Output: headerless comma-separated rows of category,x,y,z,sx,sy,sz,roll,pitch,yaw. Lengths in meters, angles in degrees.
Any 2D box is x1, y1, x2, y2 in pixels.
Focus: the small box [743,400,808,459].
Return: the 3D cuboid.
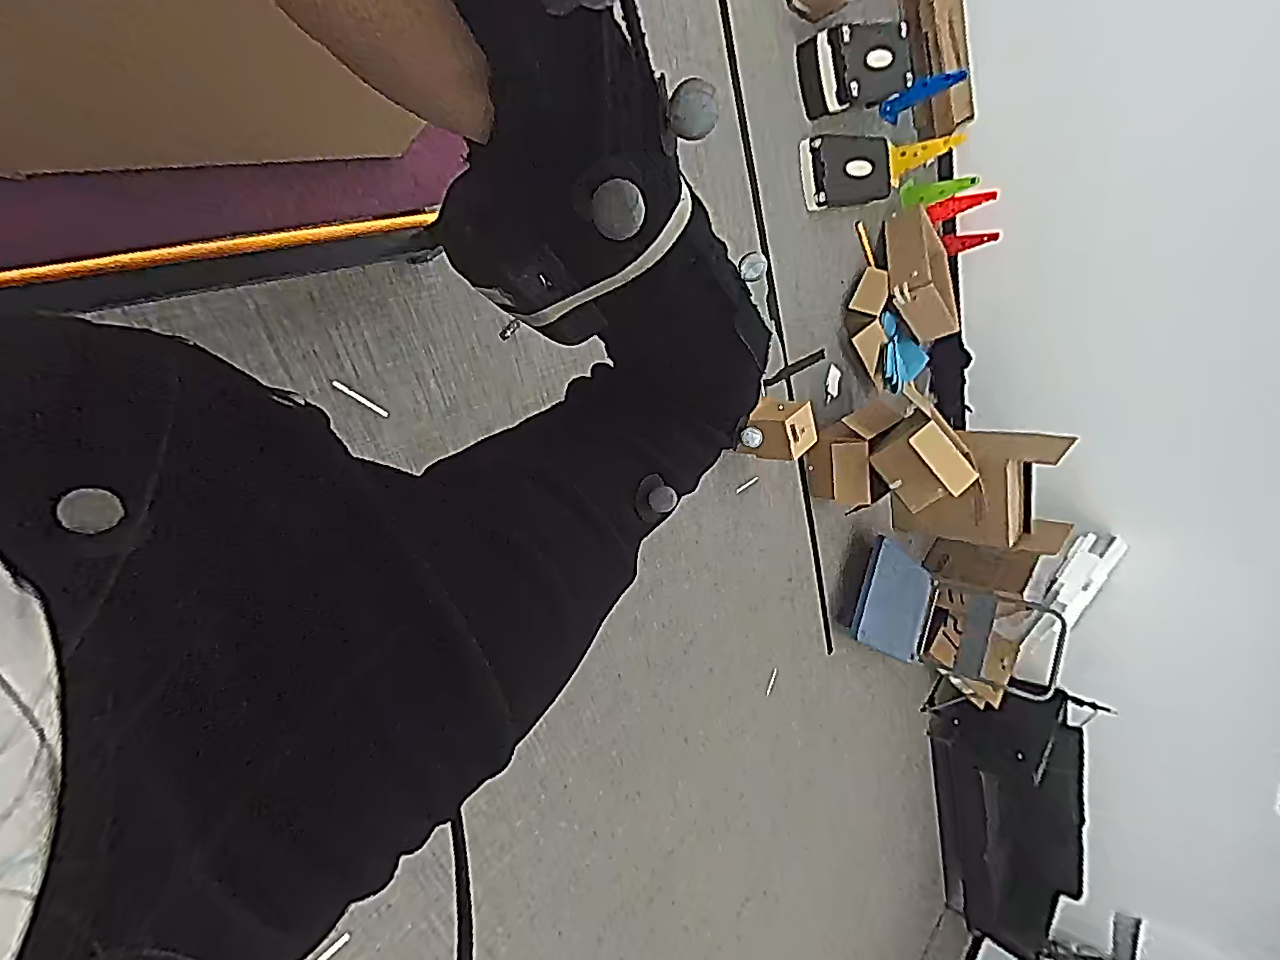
small box,0.505,-0.191,2.041,0.179,0.176,0.168,-36,119,-34
